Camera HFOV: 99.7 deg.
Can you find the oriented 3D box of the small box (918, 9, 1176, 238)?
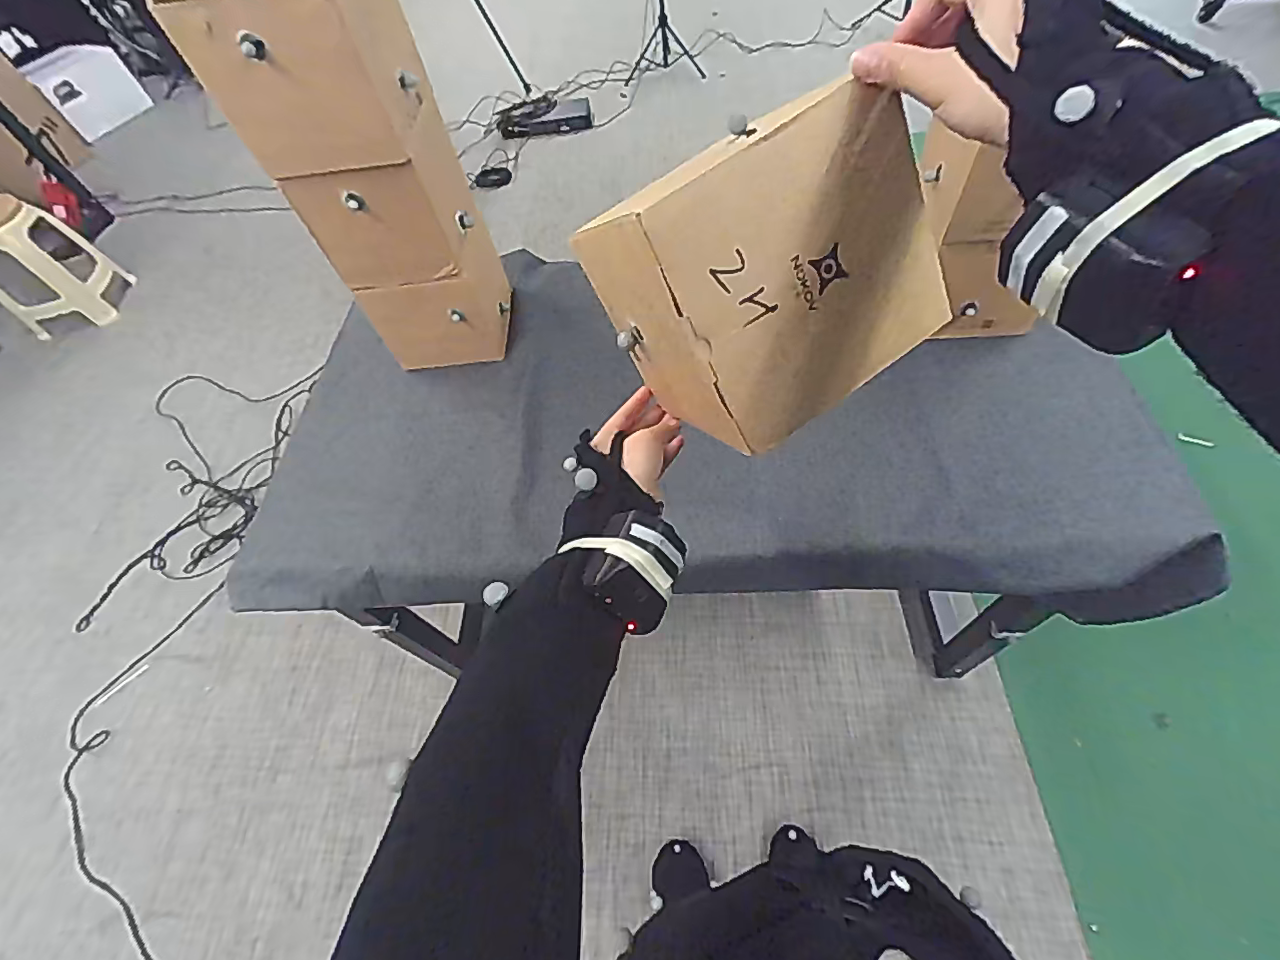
[{"bbox_3d":[0.452,-0.407,0.638,0.168,0.176,0.179,0,60,8],"label":"small box"}]

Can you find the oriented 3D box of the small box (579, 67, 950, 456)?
[{"bbox_3d":[0.079,-0.149,0.397,0.179,0.168,0.176,-33,26,-6],"label":"small box"}]

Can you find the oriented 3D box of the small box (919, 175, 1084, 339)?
[{"bbox_3d":[0.476,-0.325,0.779,0.168,0.176,0.179,-1,59,8],"label":"small box"}]

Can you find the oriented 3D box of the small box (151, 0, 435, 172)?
[{"bbox_3d":[-0.358,-0.468,0.599,0.179,0.176,0.168,-3,59,4],"label":"small box"}]

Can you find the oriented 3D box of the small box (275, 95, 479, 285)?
[{"bbox_3d":[-0.343,-0.389,0.743,0.179,0.176,0.168,-5,59,3],"label":"small box"}]
